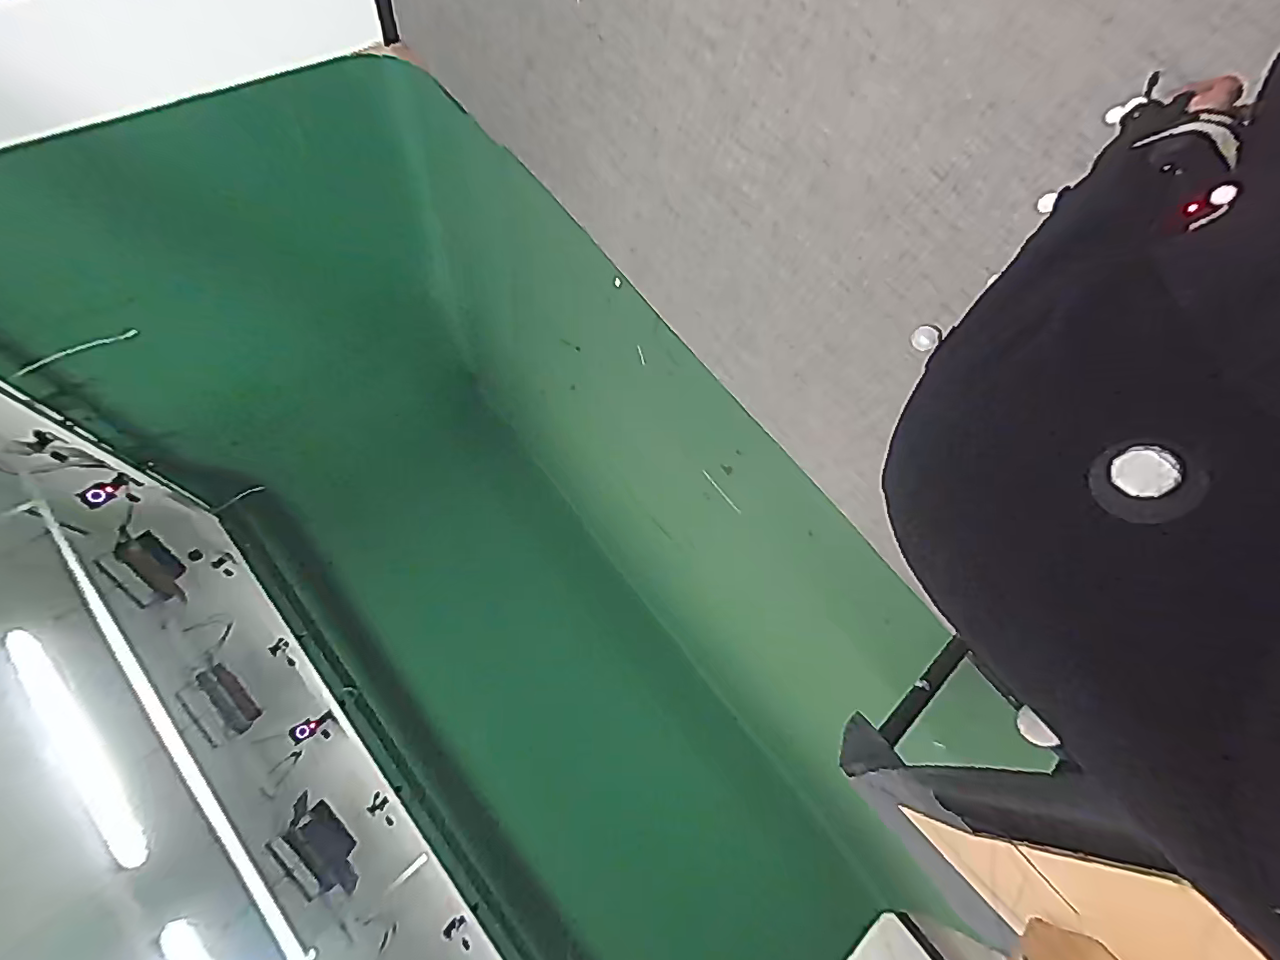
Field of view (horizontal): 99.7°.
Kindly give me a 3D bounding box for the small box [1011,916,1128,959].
[{"bbox_3d":[0.825,0.960,0.999,0.168,0.176,0.179,42,156,17],"label":"small box"}]
